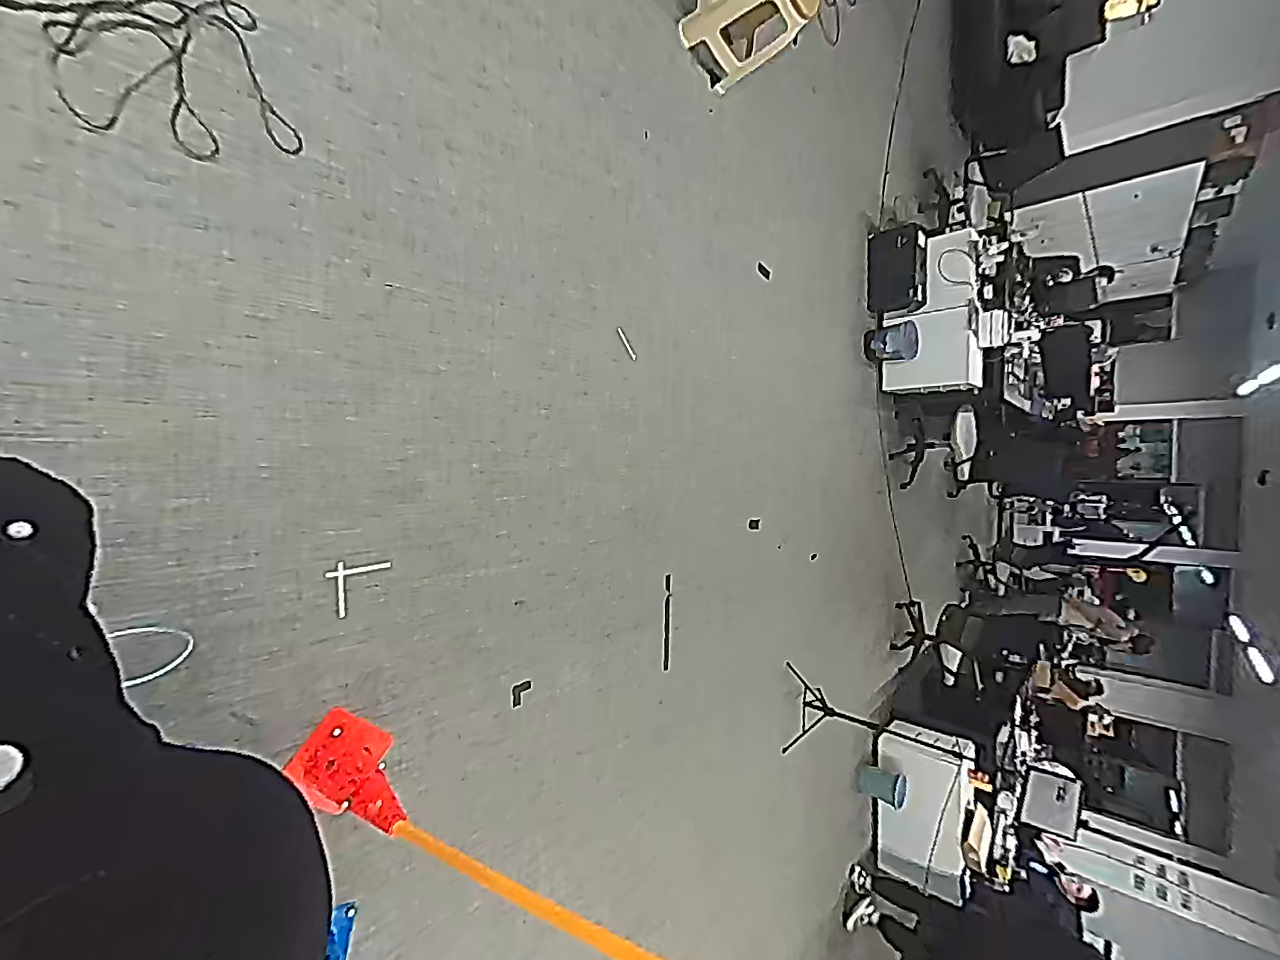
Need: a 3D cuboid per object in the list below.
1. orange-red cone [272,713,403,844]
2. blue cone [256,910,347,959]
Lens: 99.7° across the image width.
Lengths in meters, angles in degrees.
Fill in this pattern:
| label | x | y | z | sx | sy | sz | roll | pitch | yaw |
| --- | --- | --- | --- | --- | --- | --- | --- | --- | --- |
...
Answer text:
| label | x | y | z | sx | sy | sz | roll | pitch | yaw |
| --- | --- | --- | --- | --- | --- | --- | --- | --- | --- |
| orange-red cone | -0.606 | 0.687 | 1.172 | 0.199 | 0.360 | 0.198 | -56 | 128 | -29 |
| blue cone | -0.668 | 1.125 | 1.138 | 0.193 | 0.380 | 0.192 | 20 | 76 | -46 |
